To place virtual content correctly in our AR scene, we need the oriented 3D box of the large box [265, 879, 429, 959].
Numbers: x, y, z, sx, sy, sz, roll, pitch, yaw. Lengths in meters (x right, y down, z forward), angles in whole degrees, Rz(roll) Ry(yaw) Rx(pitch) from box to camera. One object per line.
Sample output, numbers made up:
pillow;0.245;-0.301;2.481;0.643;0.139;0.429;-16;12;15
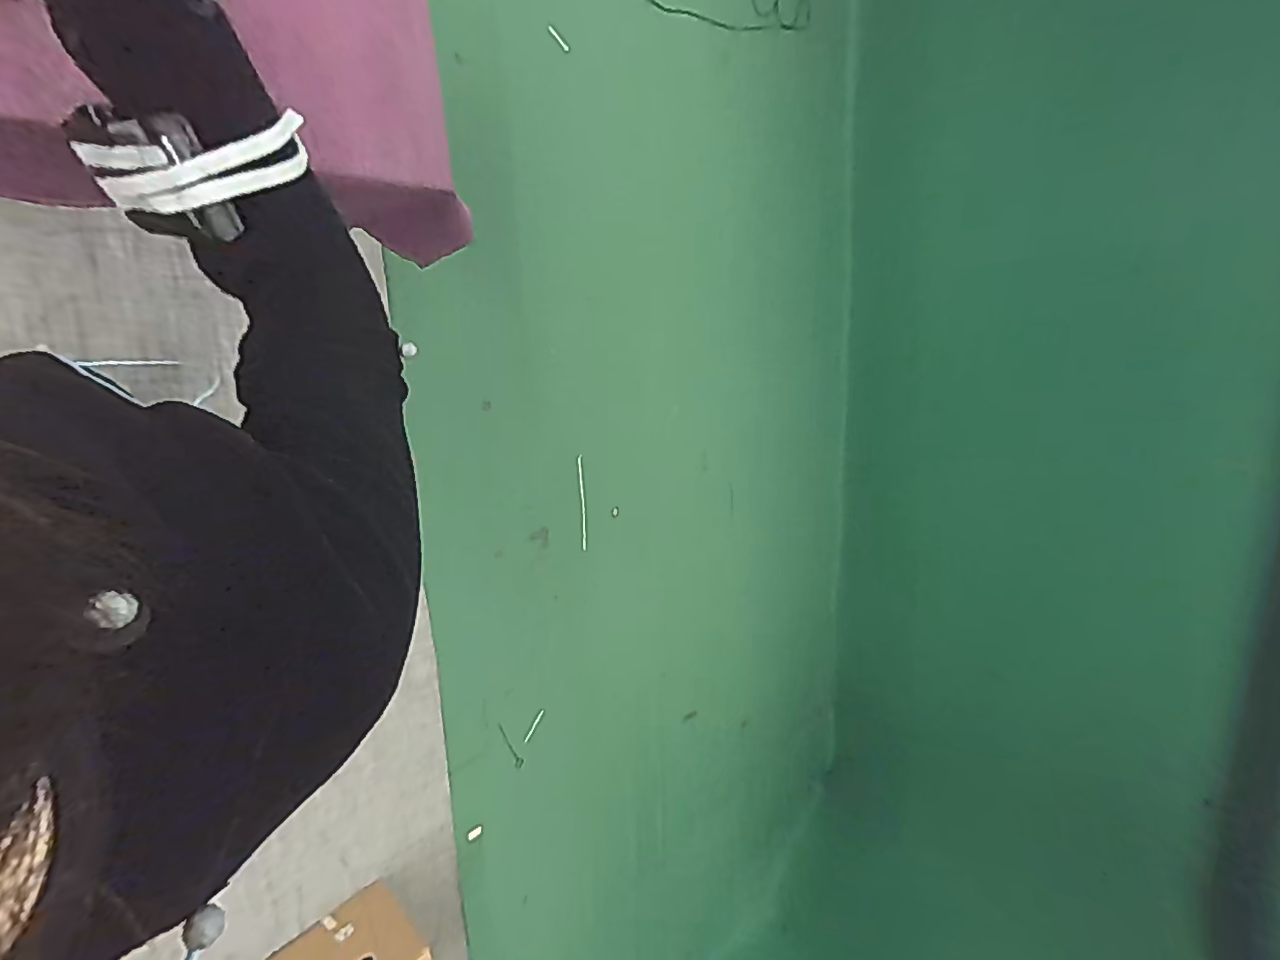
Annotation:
large box;-0.768;1.423;1.456;0.320;0.320;0.408;-16;109;-46
